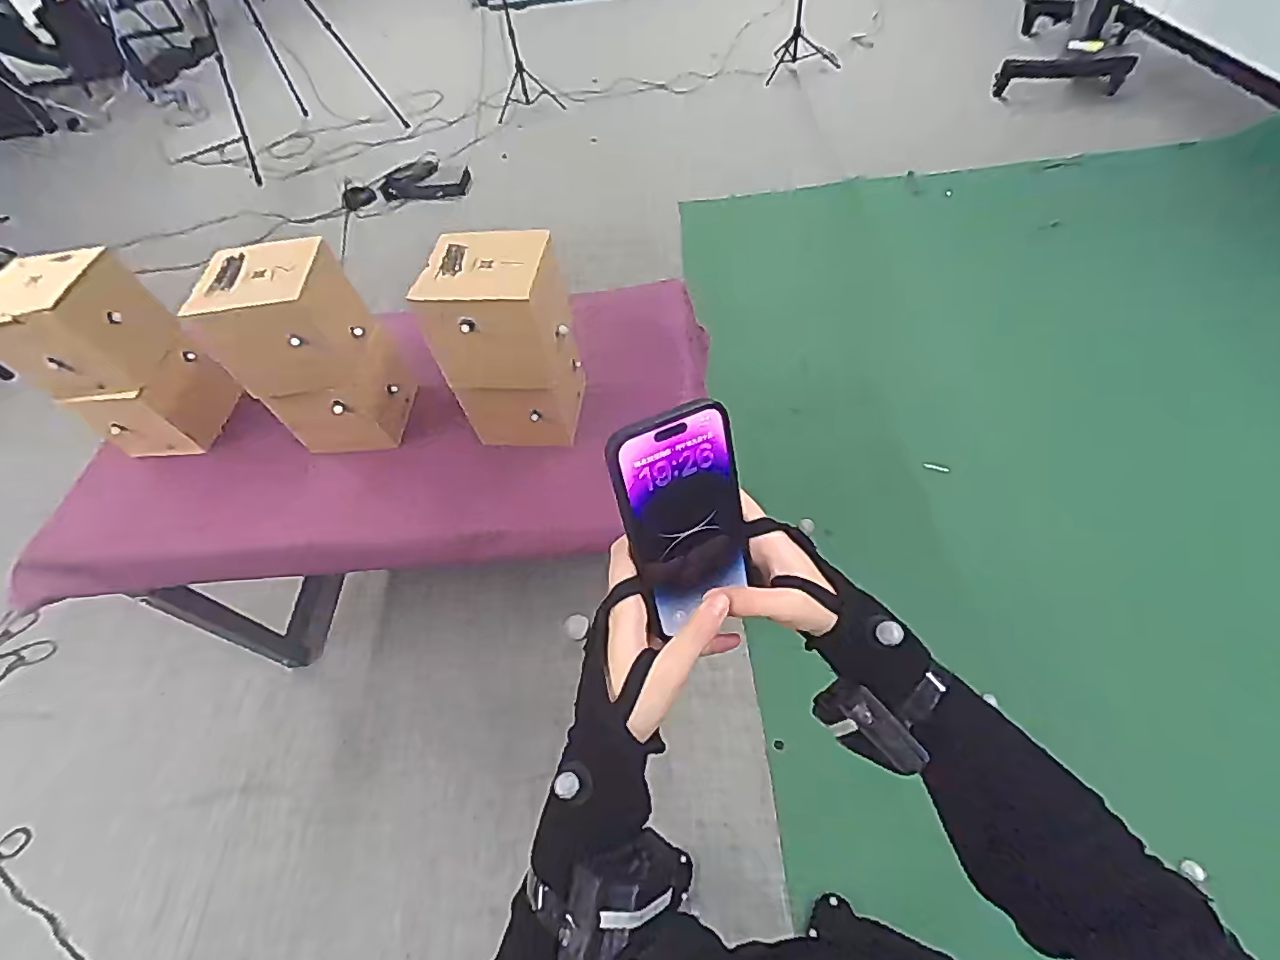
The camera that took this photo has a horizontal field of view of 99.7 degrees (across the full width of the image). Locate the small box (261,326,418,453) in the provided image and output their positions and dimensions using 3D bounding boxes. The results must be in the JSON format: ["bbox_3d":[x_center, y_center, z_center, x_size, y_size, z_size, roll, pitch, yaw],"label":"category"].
[{"bbox_3d":[-0.546,-0.165,1.014,0.179,0.176,0.168,-3,54,5],"label":"small box"}]

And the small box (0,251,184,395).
[{"bbox_3d":[-0.951,-0.261,0.932,0.168,0.176,0.179,-7,55,2],"label":"small box"}]

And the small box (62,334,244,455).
[{"bbox_3d":[-0.934,-0.160,1.061,0.168,0.176,0.179,-3,55,5],"label":"small box"}]

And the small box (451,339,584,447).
[{"bbox_3d":[-0.207,-0.172,0.978,0.179,0.176,0.168,2,55,9],"label":"small box"}]

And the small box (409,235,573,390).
[{"bbox_3d":[-0.215,-0.254,0.836,0.179,0.176,0.168,2,55,8],"label":"small box"}]
